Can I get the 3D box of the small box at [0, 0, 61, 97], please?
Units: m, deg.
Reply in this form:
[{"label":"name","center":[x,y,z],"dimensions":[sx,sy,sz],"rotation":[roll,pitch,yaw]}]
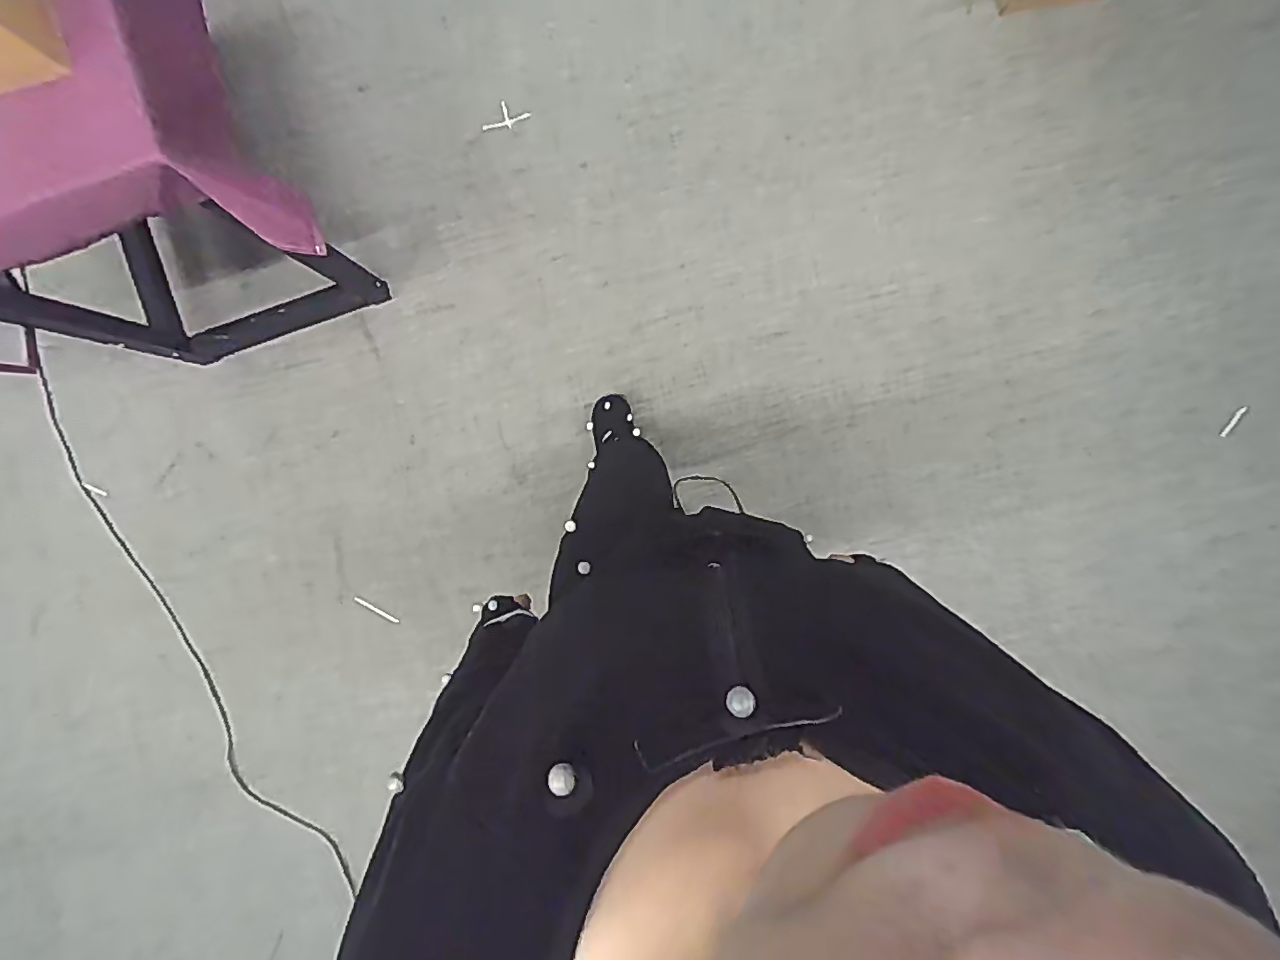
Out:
[{"label":"small box","center":[-0.913,-0.630,0.694],"dimensions":[0.179,0.176,0.168],"rotation":[-15,91,2]}]
